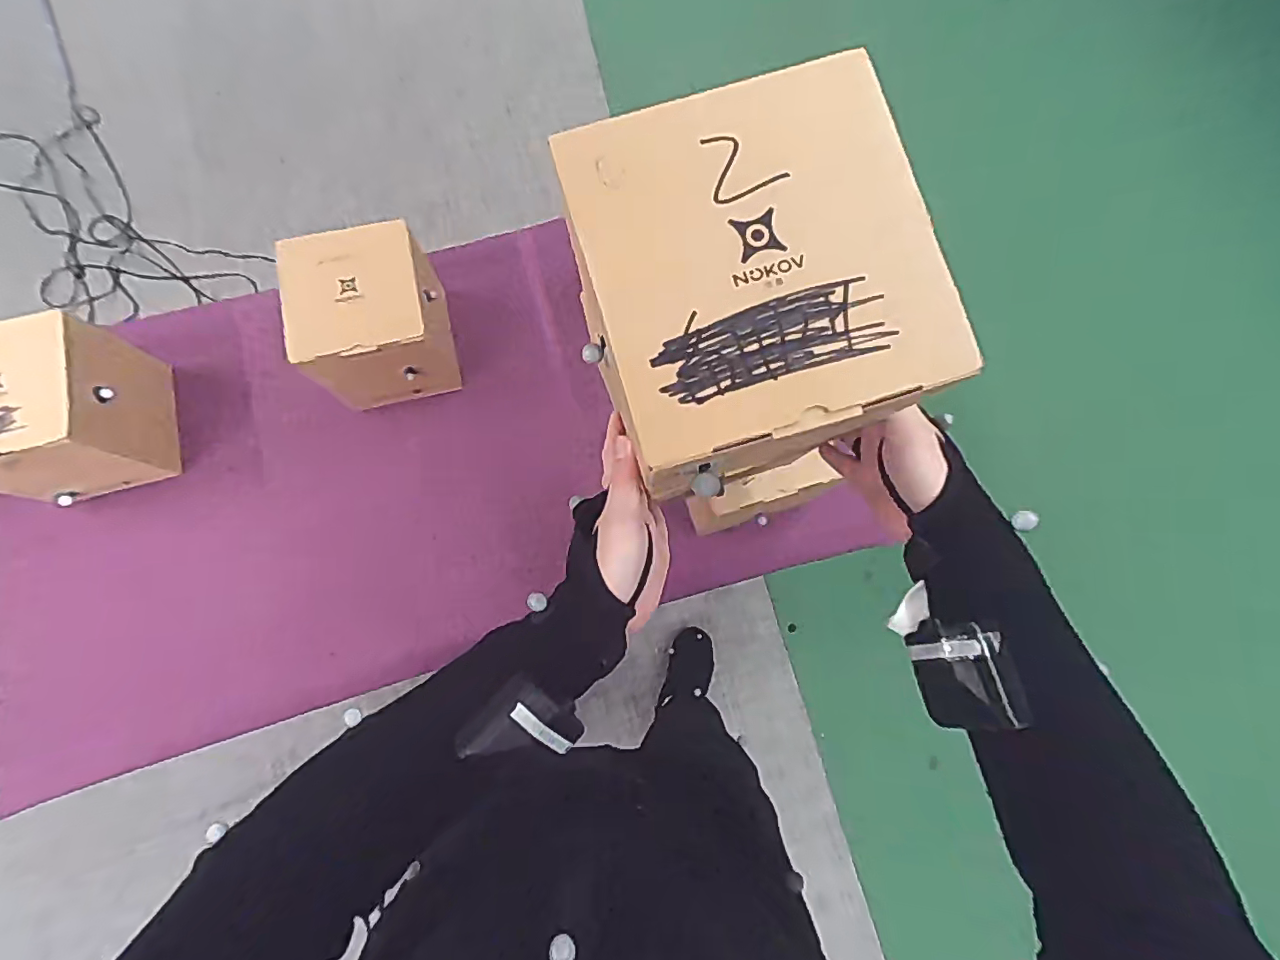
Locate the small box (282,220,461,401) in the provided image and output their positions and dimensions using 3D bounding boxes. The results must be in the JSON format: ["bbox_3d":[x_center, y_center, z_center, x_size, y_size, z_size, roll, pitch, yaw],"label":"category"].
[{"bbox_3d":[-0.364,-0.223,0.758,0.168,0.176,0.179,-12,77,-5],"label":"small box"}]

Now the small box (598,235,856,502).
[{"bbox_3d":[0.066,-0.087,0.509,0.168,0.176,0.179,-19,86,-2],"label":"small box"}]

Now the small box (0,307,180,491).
[{"bbox_3d":[-0.752,-0.092,0.710,0.168,0.176,0.179,-15,77,-6],"label":"small box"}]

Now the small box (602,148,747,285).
[{"bbox_3d":[0.045,-0.338,0.796,0.168,0.176,0.179,-14,80,-5],"label":"small box"}]

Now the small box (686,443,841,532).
[{"bbox_3d":[0.136,-0.043,0.728,0.168,0.176,0.179,-16,77,-4],"label":"small box"}]
